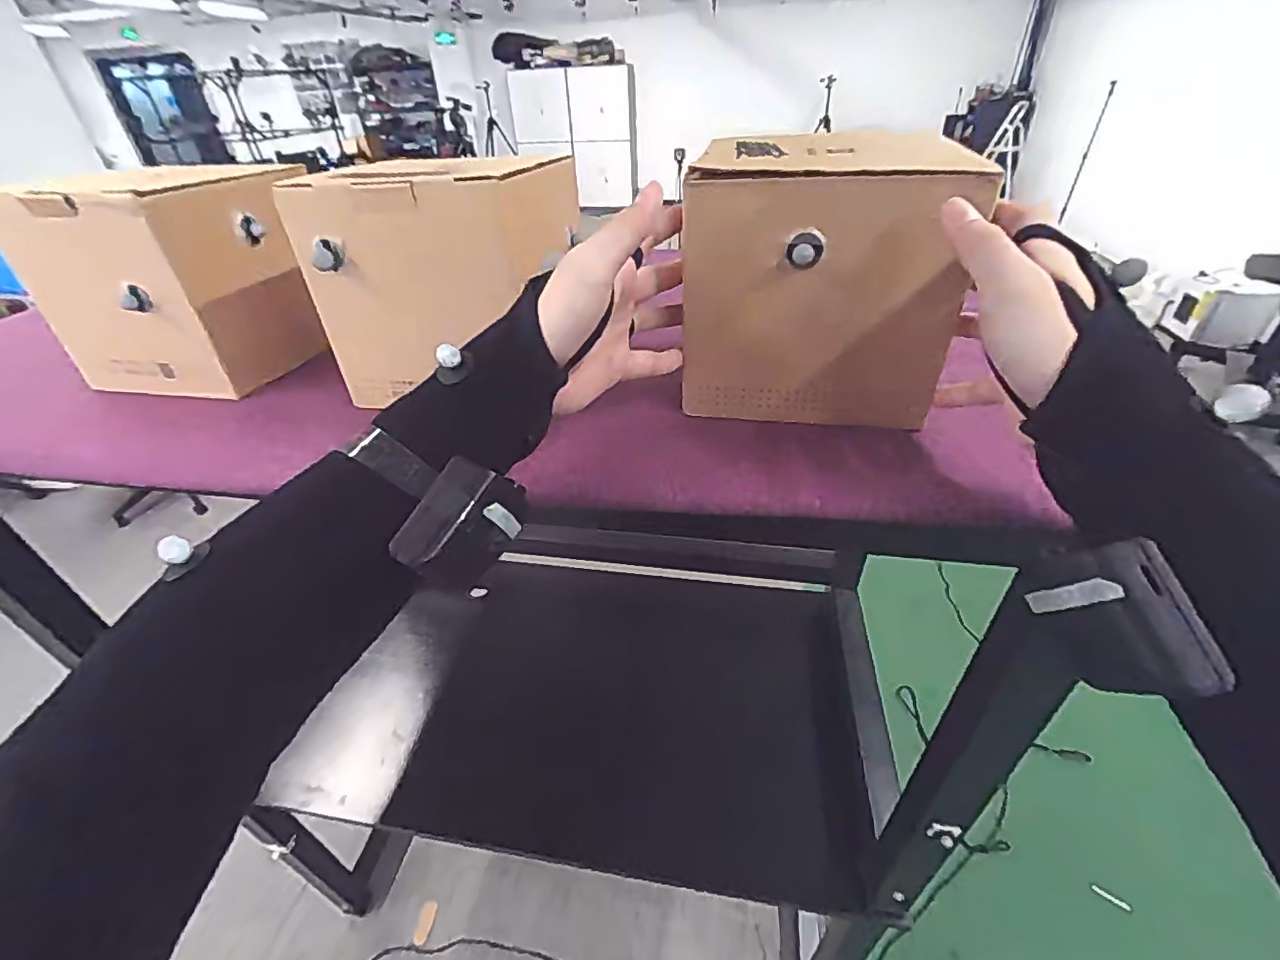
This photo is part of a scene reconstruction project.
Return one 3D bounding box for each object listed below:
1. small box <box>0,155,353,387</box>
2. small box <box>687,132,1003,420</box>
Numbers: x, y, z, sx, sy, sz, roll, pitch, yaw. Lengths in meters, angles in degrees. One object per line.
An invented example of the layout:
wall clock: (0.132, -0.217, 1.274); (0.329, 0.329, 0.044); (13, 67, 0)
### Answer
small box: (-0.409, -0.198, 0.508); (0.168, 0.176, 0.179); (6, 35, 11)
small box: (0.132, -0.159, 0.416); (0.179, 0.176, 0.168); (6, 38, 11)
